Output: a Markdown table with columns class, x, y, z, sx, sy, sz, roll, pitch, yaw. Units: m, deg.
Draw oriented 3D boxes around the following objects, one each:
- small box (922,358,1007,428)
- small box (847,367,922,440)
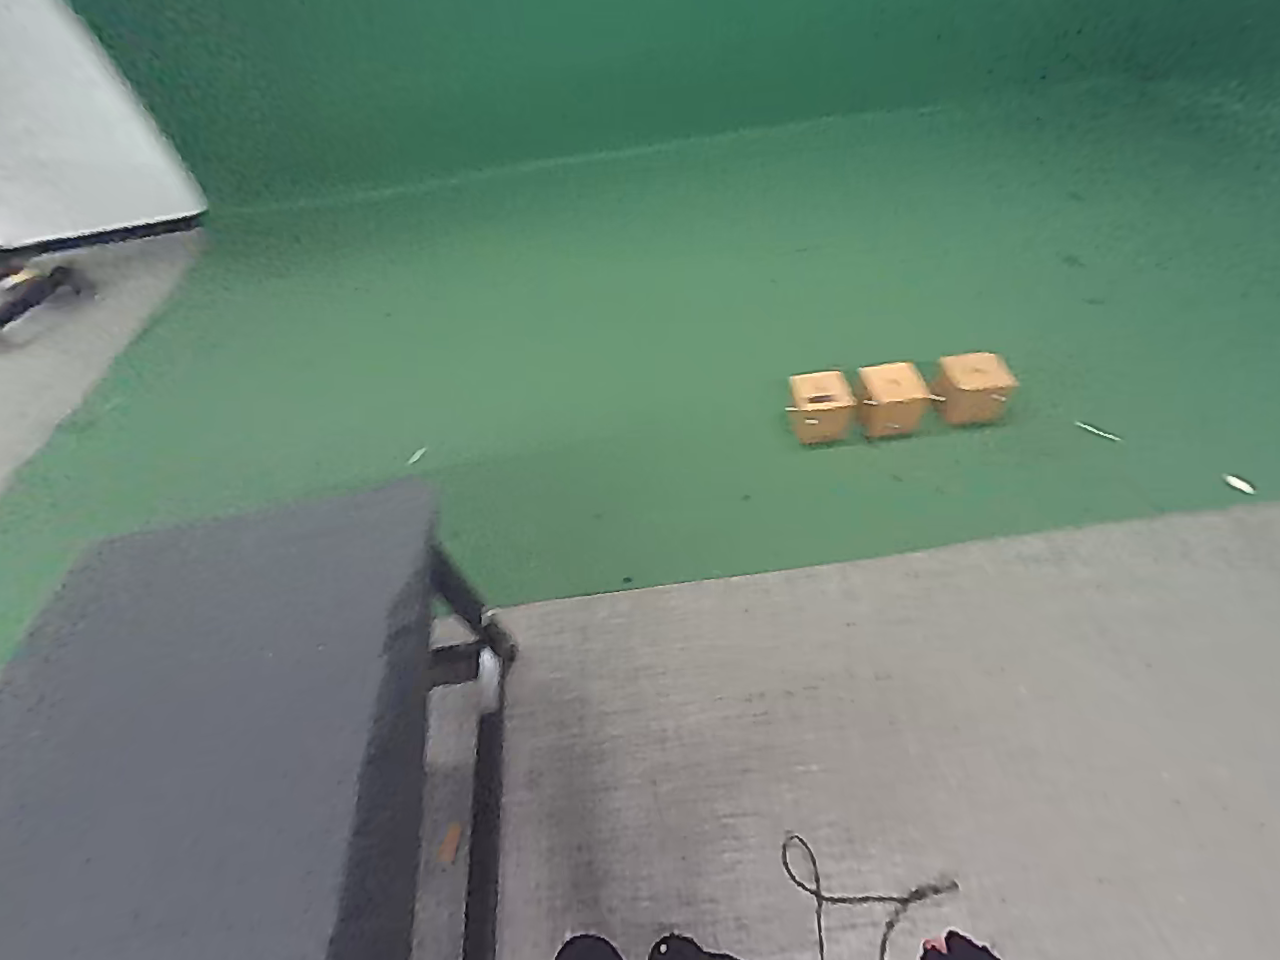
| class | x | y | z | sx | sy | sz | roll | pitch | yaw |
| --- | --- | --- | --- | --- | --- | --- | --- | --- | --- |
| small box | 1.118 | -0.300 | 1.878 | 0.179 | 0.176 | 0.168 | -6 | 51 | 2 |
| small box | 0.845 | -0.266 | 1.888 | 0.168 | 0.176 | 0.179 | -8 | 52 | 0 |
